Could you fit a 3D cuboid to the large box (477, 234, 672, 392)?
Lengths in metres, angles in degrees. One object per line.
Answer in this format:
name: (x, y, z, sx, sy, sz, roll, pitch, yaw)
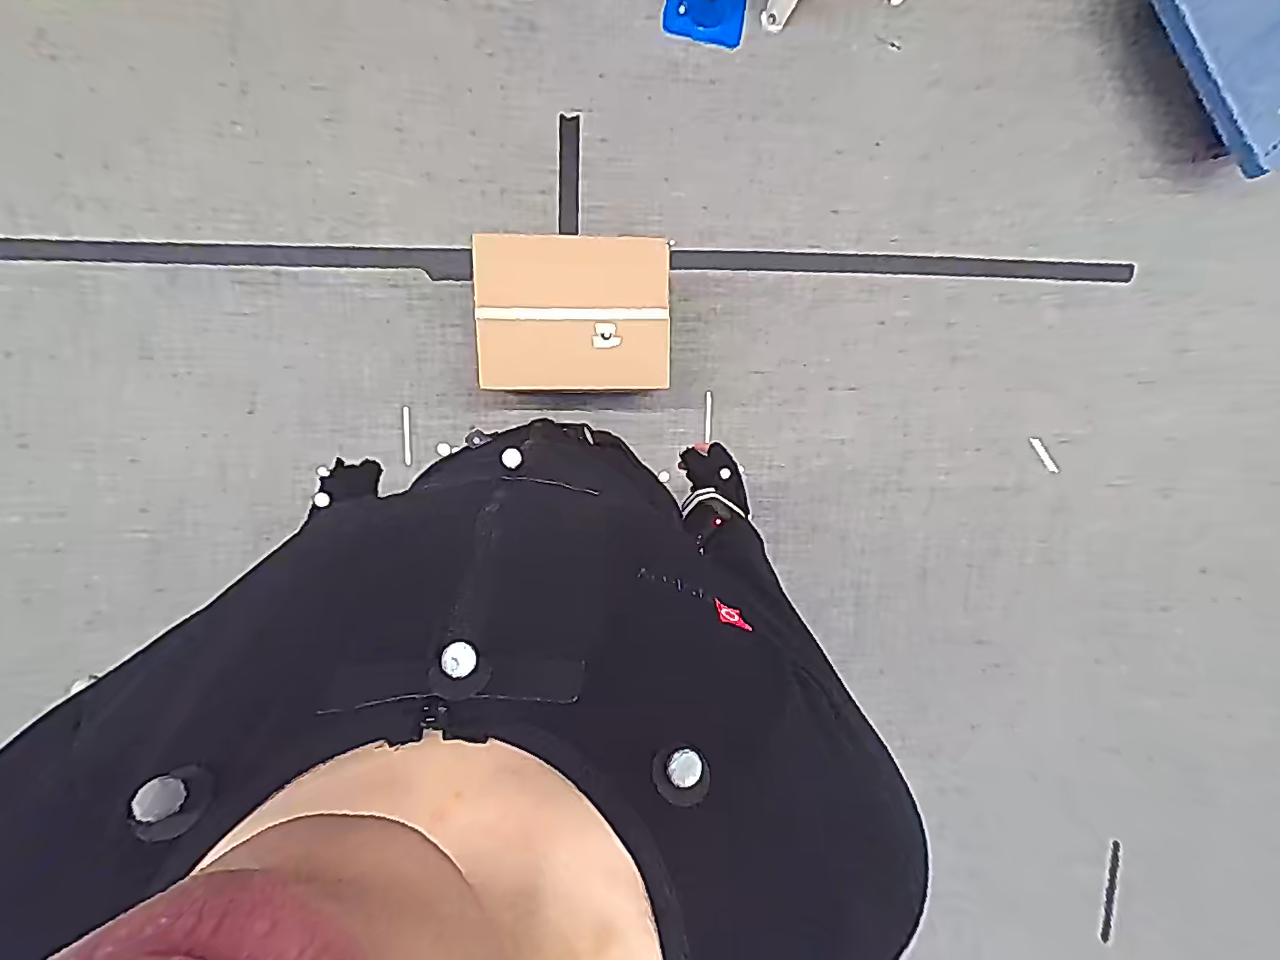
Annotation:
large box: (-0.149, -0.374, 1.282, 0.408, 0.320, 0.320, -2, 99, -6)
